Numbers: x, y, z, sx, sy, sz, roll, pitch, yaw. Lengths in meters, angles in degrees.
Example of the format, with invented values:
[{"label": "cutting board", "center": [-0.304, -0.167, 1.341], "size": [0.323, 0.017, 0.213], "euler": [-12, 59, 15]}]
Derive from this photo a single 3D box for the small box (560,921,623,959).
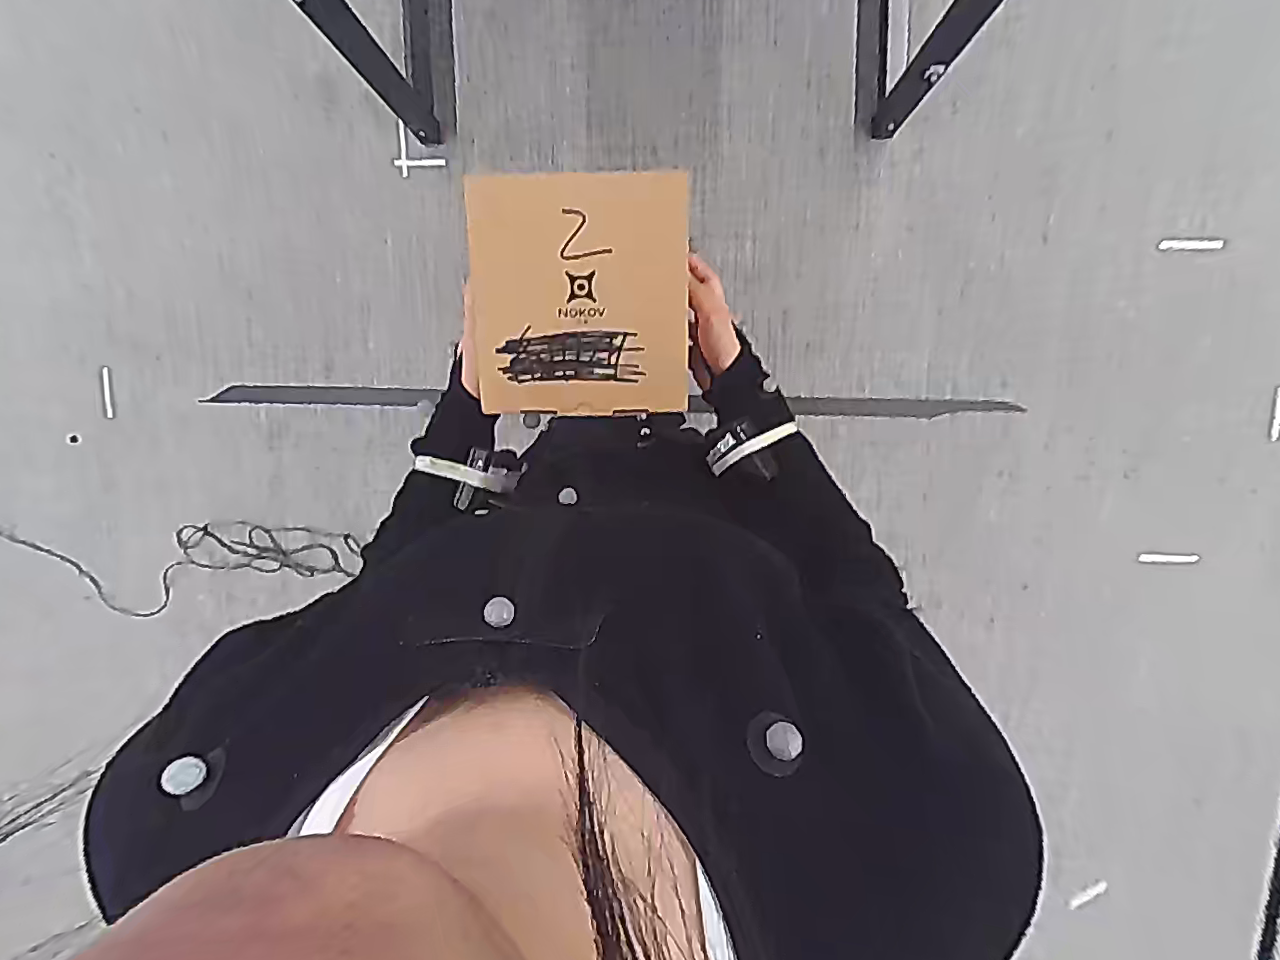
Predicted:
[{"label": "small box", "center": [-0.151, 1.451, 1.592], "size": [0.179, 0.176, 0.168], "euler": [8, 97, 0]}]
